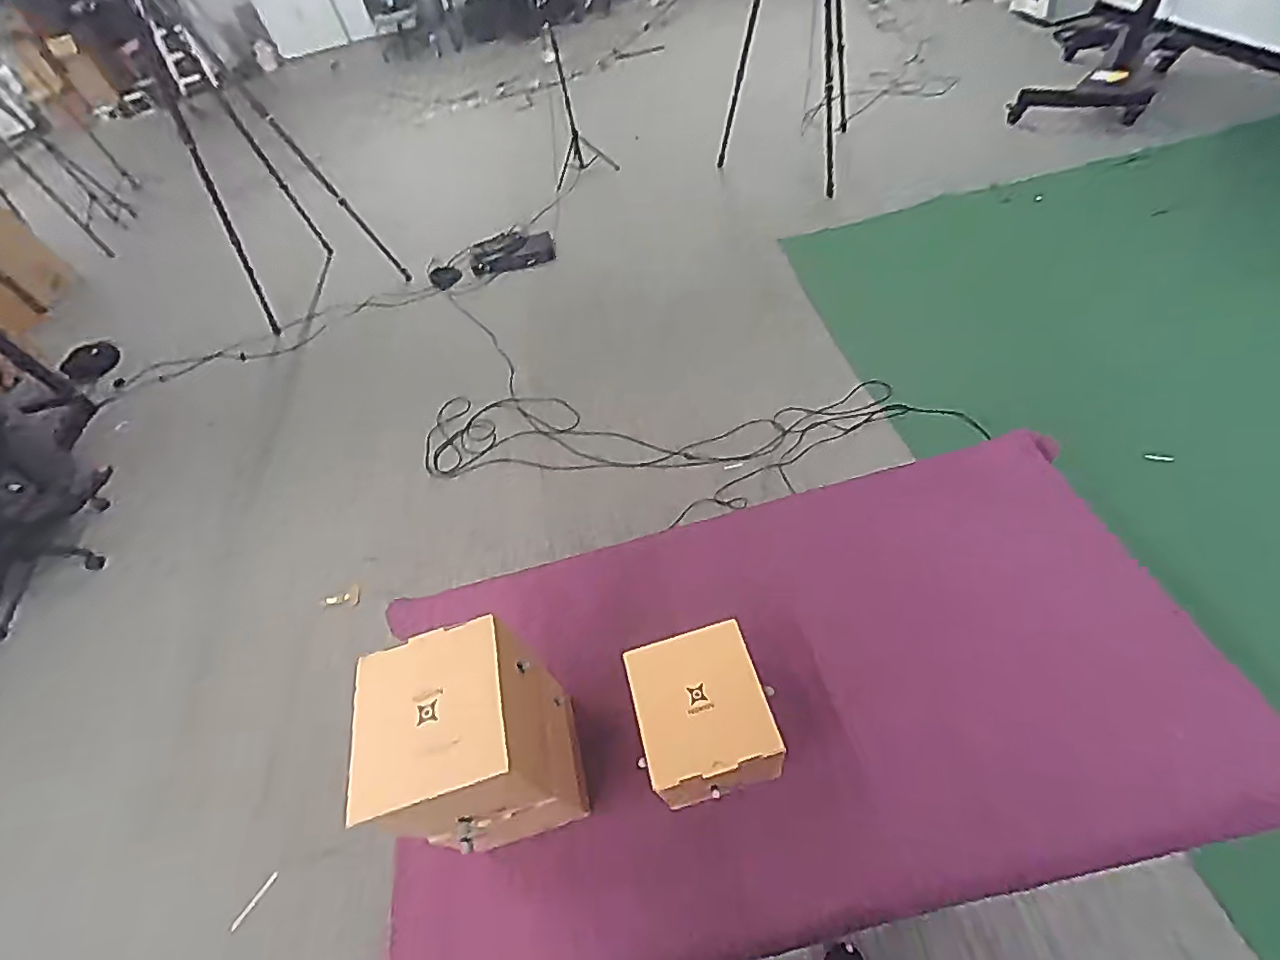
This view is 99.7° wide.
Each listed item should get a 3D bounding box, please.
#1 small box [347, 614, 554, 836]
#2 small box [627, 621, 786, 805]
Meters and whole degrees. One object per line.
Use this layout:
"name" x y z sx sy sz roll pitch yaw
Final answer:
"small box" -0.210 0.290 0.635 0.168 0.176 0.179 -17 51 -2
"small box" 0.089 0.329 0.757 0.168 0.176 0.179 -16 52 -2
